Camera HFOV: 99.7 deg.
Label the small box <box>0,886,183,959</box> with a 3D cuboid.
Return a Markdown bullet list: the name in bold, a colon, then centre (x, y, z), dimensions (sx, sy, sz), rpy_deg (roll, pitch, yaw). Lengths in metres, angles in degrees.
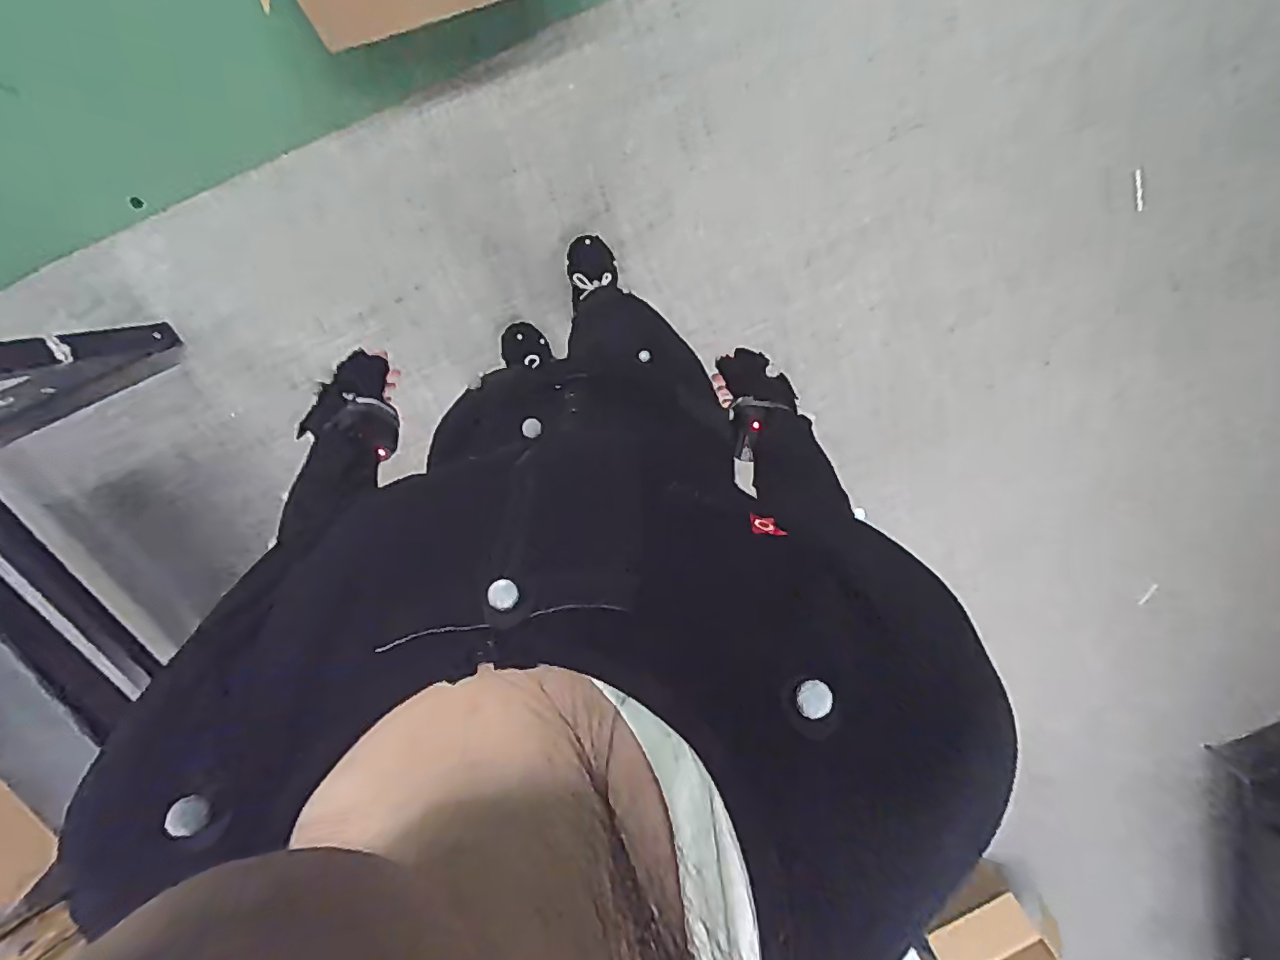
- **small box**: centre (-0.871, 0.765, 0.820), dimensions (0.168, 0.176, 0.179), rpy_deg (-30, 111, 3)
